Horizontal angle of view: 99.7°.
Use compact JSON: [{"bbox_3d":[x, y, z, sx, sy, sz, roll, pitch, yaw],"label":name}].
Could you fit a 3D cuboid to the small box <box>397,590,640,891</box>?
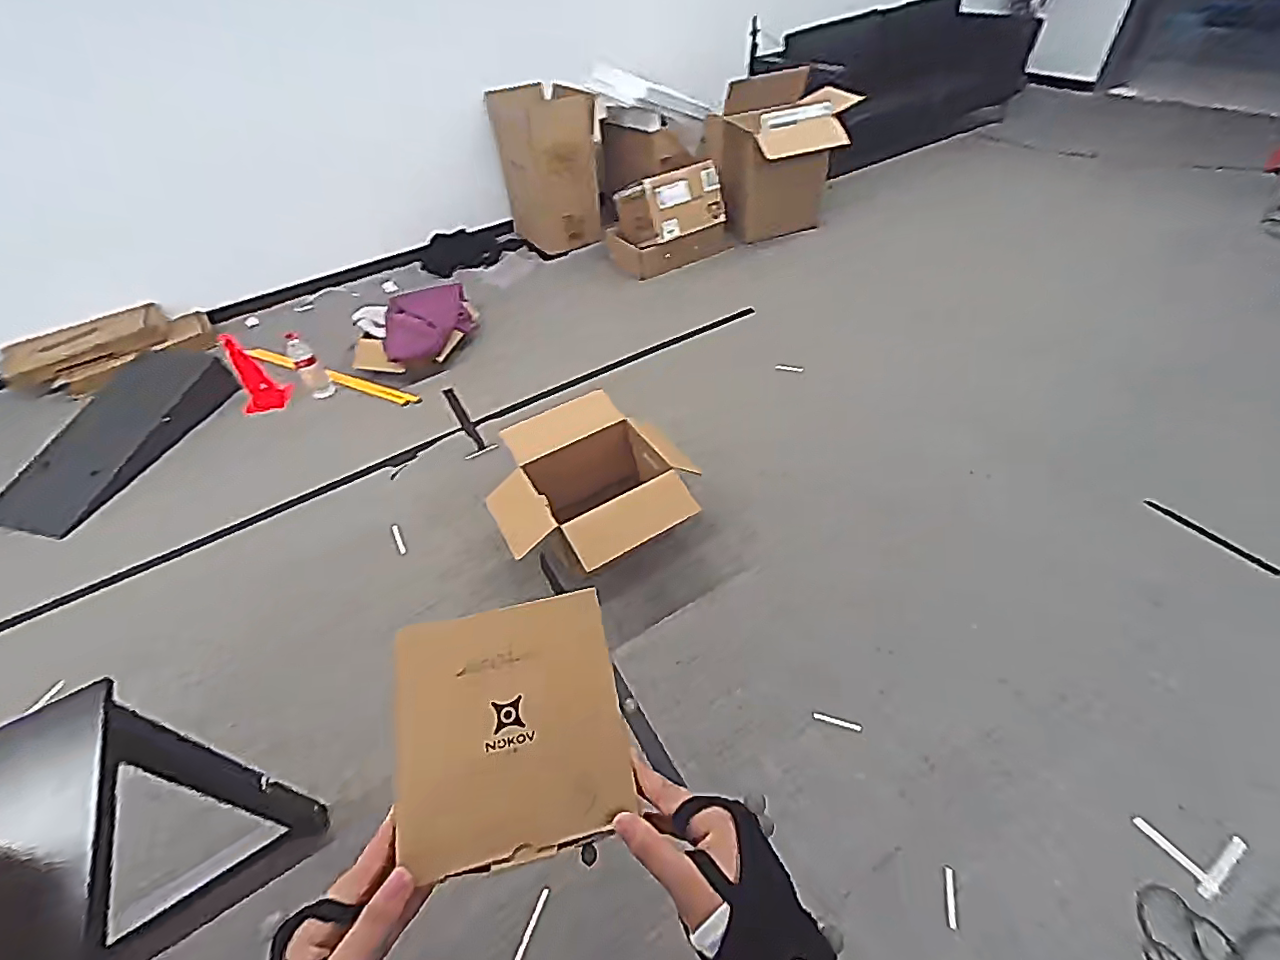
[{"bbox_3d":[-0.096,0.221,0.470,0.168,0.176,0.179,-12,58,-7],"label":"small box"}]
